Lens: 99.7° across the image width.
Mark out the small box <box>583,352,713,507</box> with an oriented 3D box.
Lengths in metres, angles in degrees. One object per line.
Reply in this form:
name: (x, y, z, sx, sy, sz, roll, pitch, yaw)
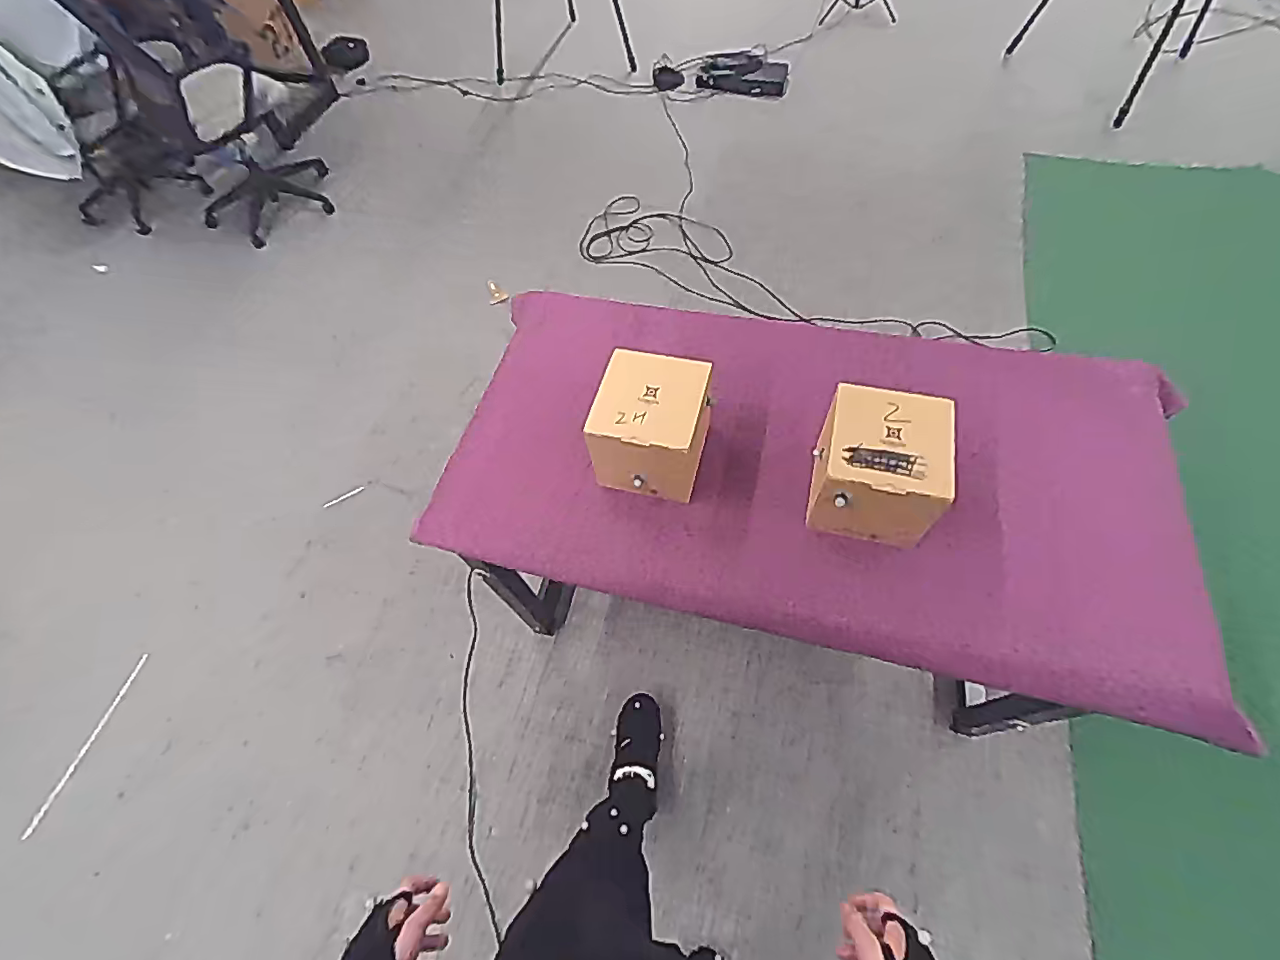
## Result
small box: (0.020, -0.081, 0.900, 0.168, 0.176, 0.179, 12, 62, 12)
